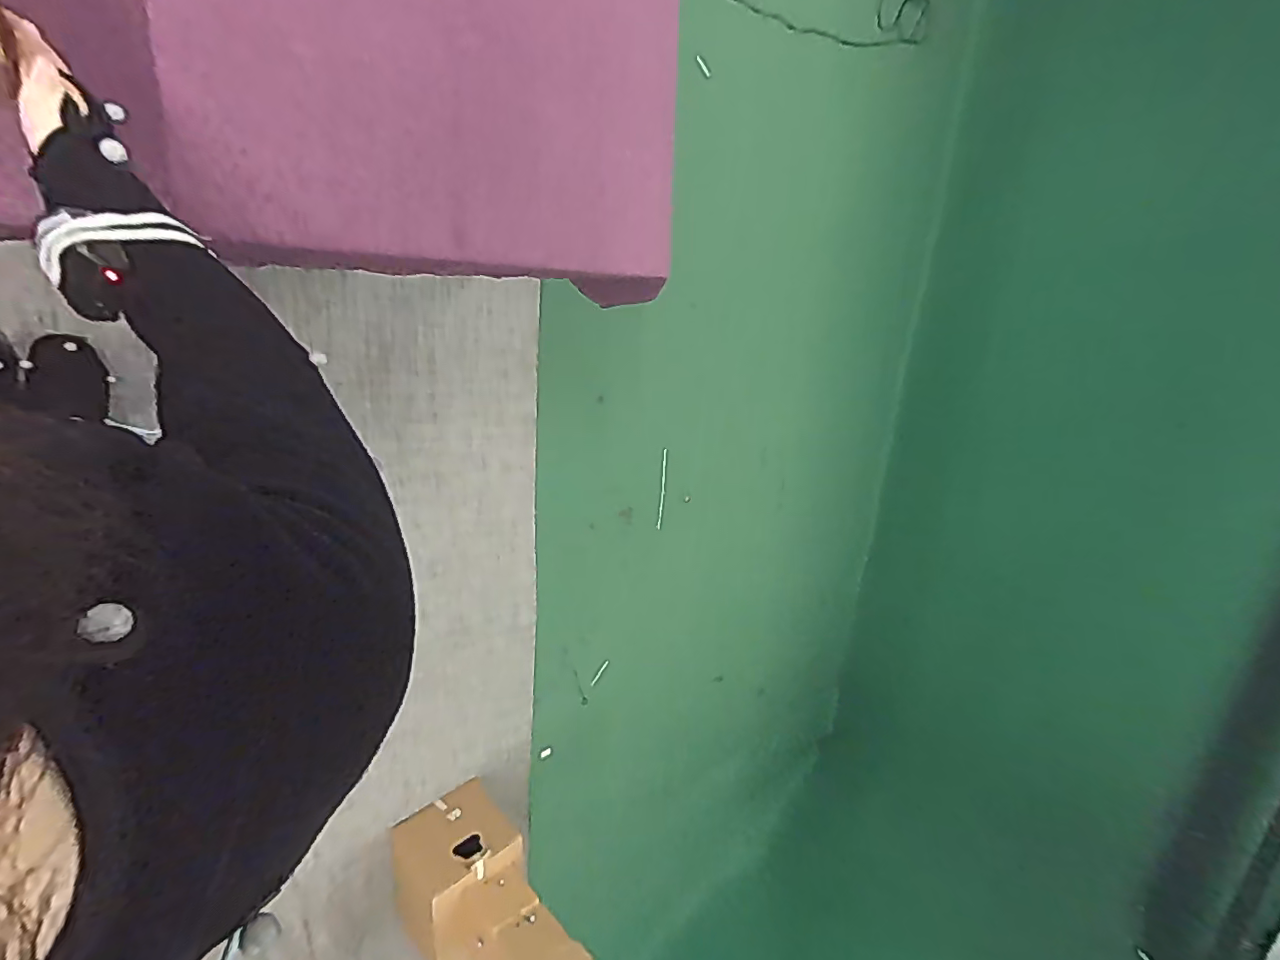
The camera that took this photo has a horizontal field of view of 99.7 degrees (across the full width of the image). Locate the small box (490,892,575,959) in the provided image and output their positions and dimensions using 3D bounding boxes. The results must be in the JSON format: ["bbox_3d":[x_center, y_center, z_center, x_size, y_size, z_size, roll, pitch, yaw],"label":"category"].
[{"bbox_3d":[-0.322,1.385,1.597,0.168,0.176,0.179,5,100,-49],"label":"small box"}]

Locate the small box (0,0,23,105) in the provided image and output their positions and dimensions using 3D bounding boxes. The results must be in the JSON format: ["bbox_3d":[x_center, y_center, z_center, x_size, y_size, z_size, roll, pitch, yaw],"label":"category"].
[{"bbox_3d":[-0.538,-0.378,0.345,0.168,0.176,0.179,-12,113,-43],"label":"small box"}]

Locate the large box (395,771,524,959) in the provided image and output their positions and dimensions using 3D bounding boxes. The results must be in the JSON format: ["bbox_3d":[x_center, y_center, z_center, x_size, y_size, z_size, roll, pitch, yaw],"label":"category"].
[{"bbox_3d":[-0.618,1.325,1.871,0.320,0.320,0.408,-14,115,-43],"label":"large box"}]

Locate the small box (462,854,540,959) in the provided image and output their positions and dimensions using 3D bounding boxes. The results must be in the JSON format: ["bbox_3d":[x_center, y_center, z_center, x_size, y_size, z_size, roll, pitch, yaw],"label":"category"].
[{"bbox_3d":[-0.440,1.336,1.699,0.168,0.176,0.179,1,104,-47],"label":"small box"}]
